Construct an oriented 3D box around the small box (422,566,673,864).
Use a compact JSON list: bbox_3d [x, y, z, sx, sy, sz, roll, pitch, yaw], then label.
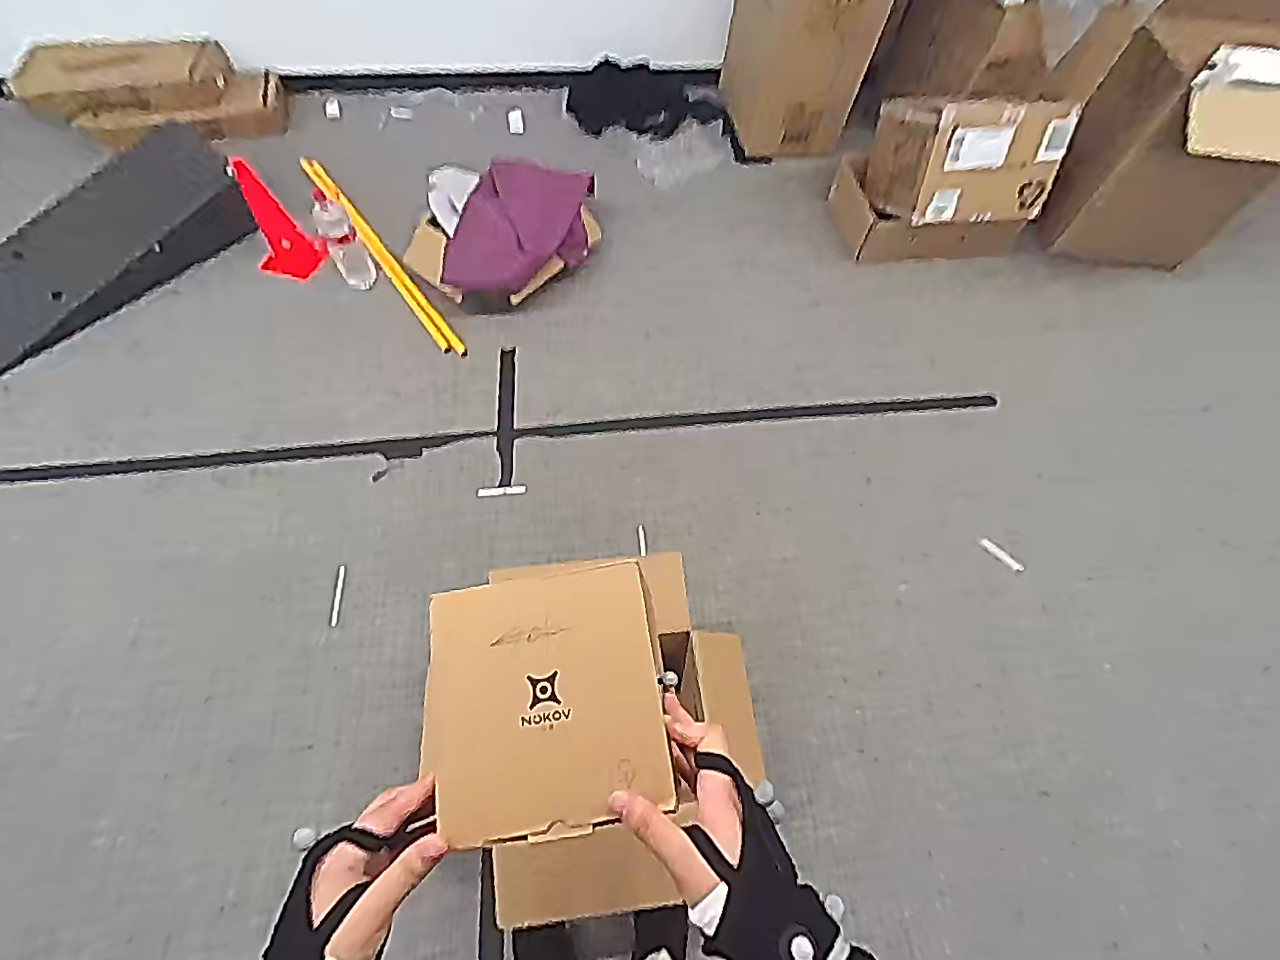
[{"bbox_3d":[-0.067,0.186,0.462,0.168,0.176,0.179,-12,70,-1],"label":"small box"}]
